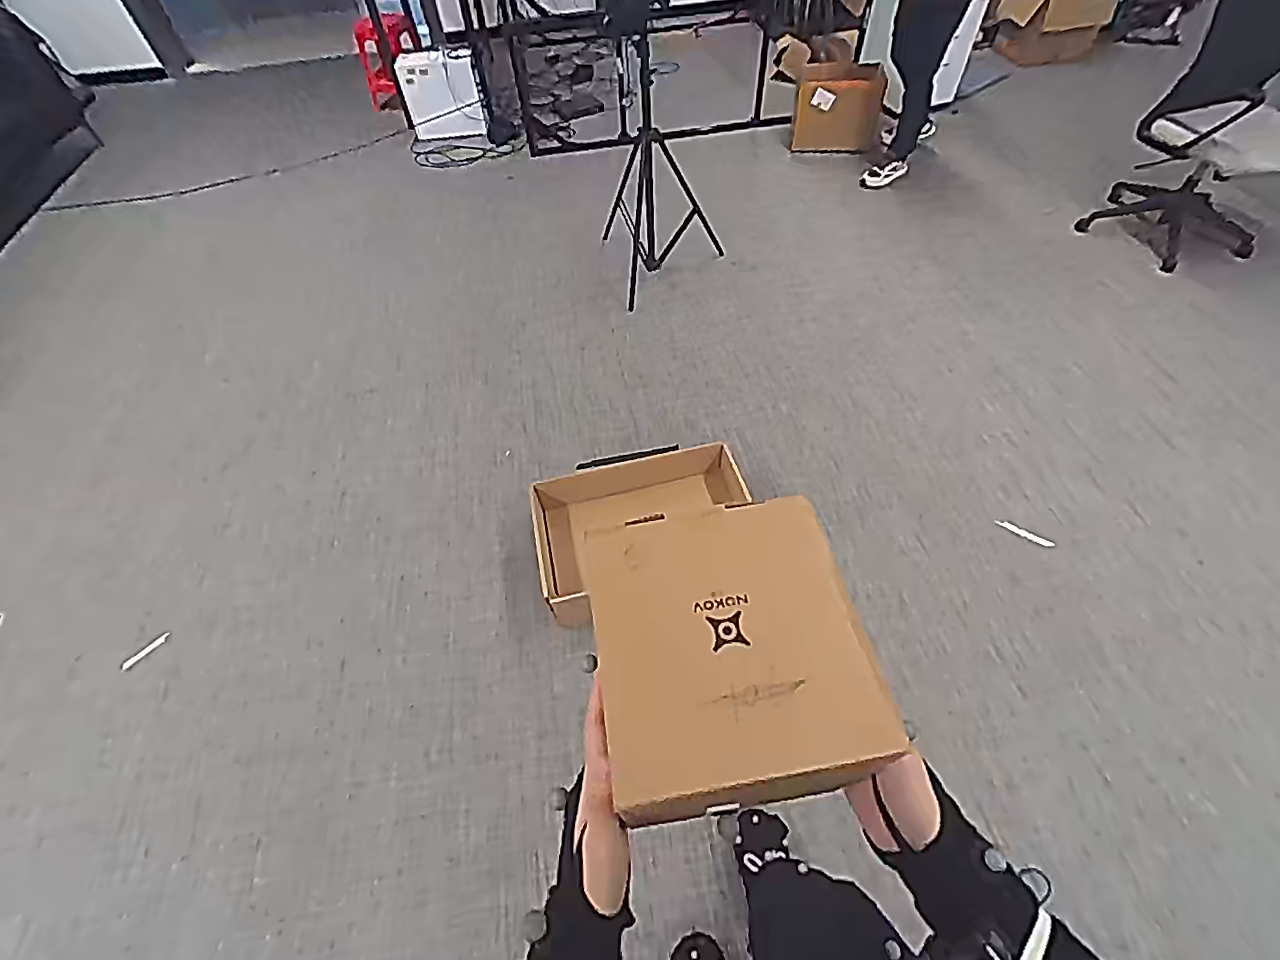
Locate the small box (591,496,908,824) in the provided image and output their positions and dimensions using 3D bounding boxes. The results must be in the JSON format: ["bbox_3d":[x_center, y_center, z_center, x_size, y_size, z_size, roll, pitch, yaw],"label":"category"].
[{"bbox_3d":[0.058,0.138,0.407,0.168,0.176,0.179,-9,54,-4],"label":"small box"}]
